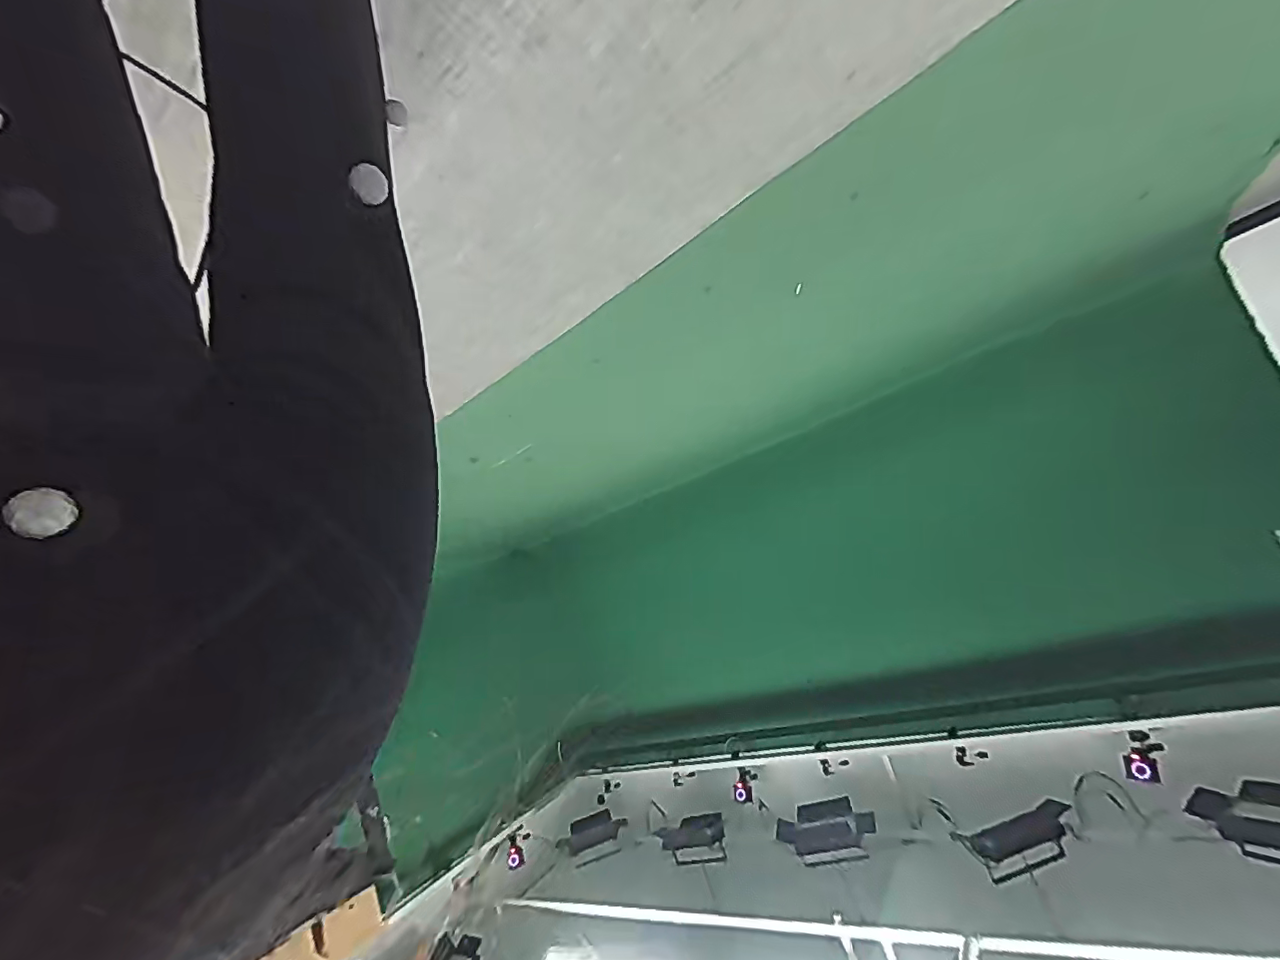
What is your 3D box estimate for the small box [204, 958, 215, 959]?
[{"bbox_3d":[-1.209,1.421,1.435,0.179,0.176,0.168,-28,166,36],"label":"small box"}]
